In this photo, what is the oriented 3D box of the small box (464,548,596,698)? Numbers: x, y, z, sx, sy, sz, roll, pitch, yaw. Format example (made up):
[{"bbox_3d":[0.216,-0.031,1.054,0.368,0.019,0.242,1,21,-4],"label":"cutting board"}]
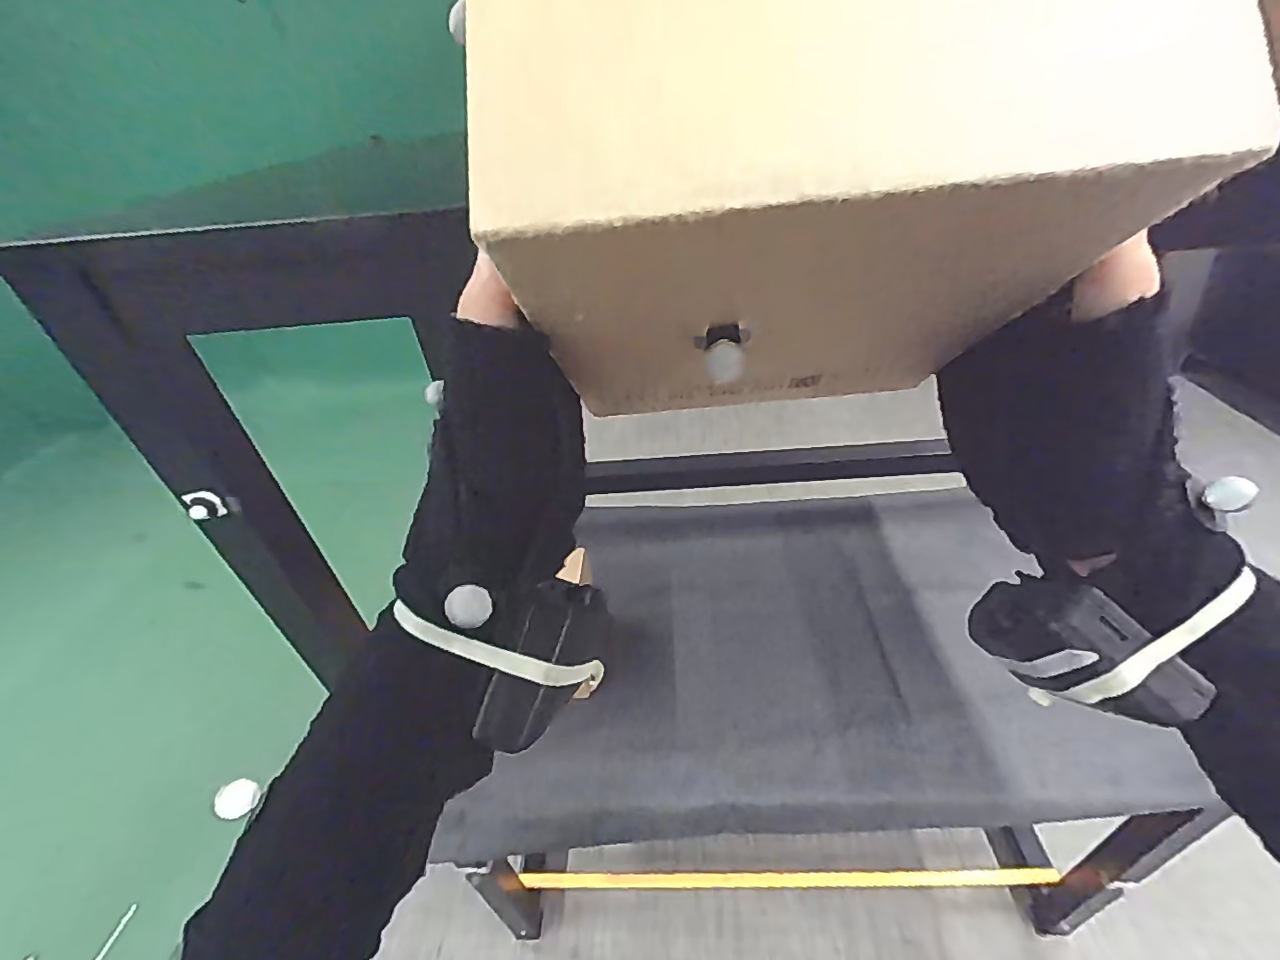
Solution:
[{"bbox_3d":[-0.168,0.234,0.889,0.168,0.176,0.179,-3,37,4],"label":"small box"}]
